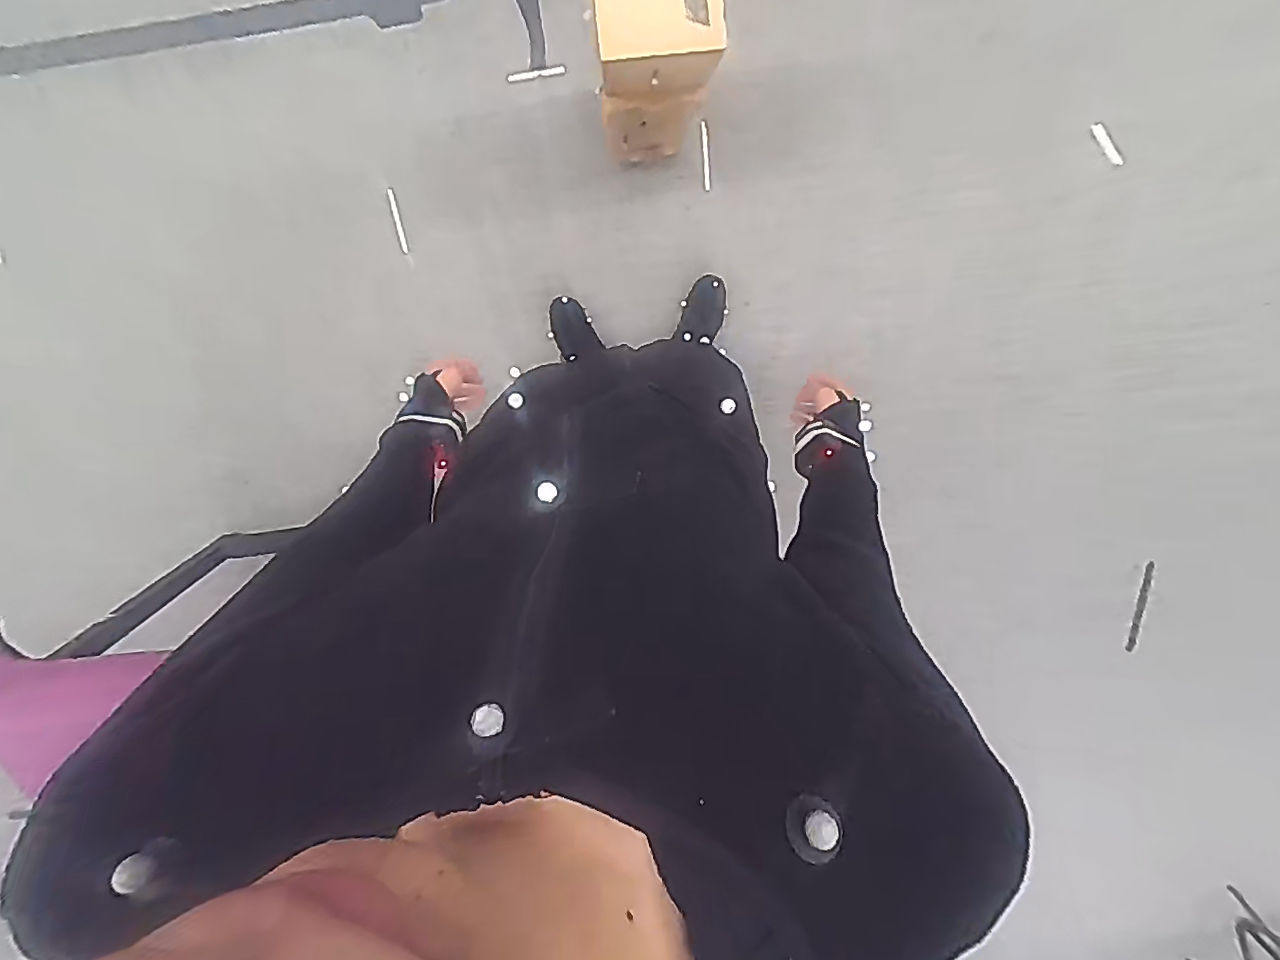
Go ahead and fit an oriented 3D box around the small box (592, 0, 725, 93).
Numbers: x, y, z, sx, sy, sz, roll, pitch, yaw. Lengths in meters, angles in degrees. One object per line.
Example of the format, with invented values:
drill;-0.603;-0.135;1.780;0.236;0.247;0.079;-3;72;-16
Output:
small box;0.020;-0.682;0.779;0.179;0.176;0.168;-5;113;1

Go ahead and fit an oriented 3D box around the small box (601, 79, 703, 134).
small box;0.012;-0.727;0.937;0.168;0.176;0.179;-7;113;1

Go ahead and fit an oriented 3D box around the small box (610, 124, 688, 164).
small box;0.010;-0.850;1.241;0.168;0.176;0.179;-10;114;3
